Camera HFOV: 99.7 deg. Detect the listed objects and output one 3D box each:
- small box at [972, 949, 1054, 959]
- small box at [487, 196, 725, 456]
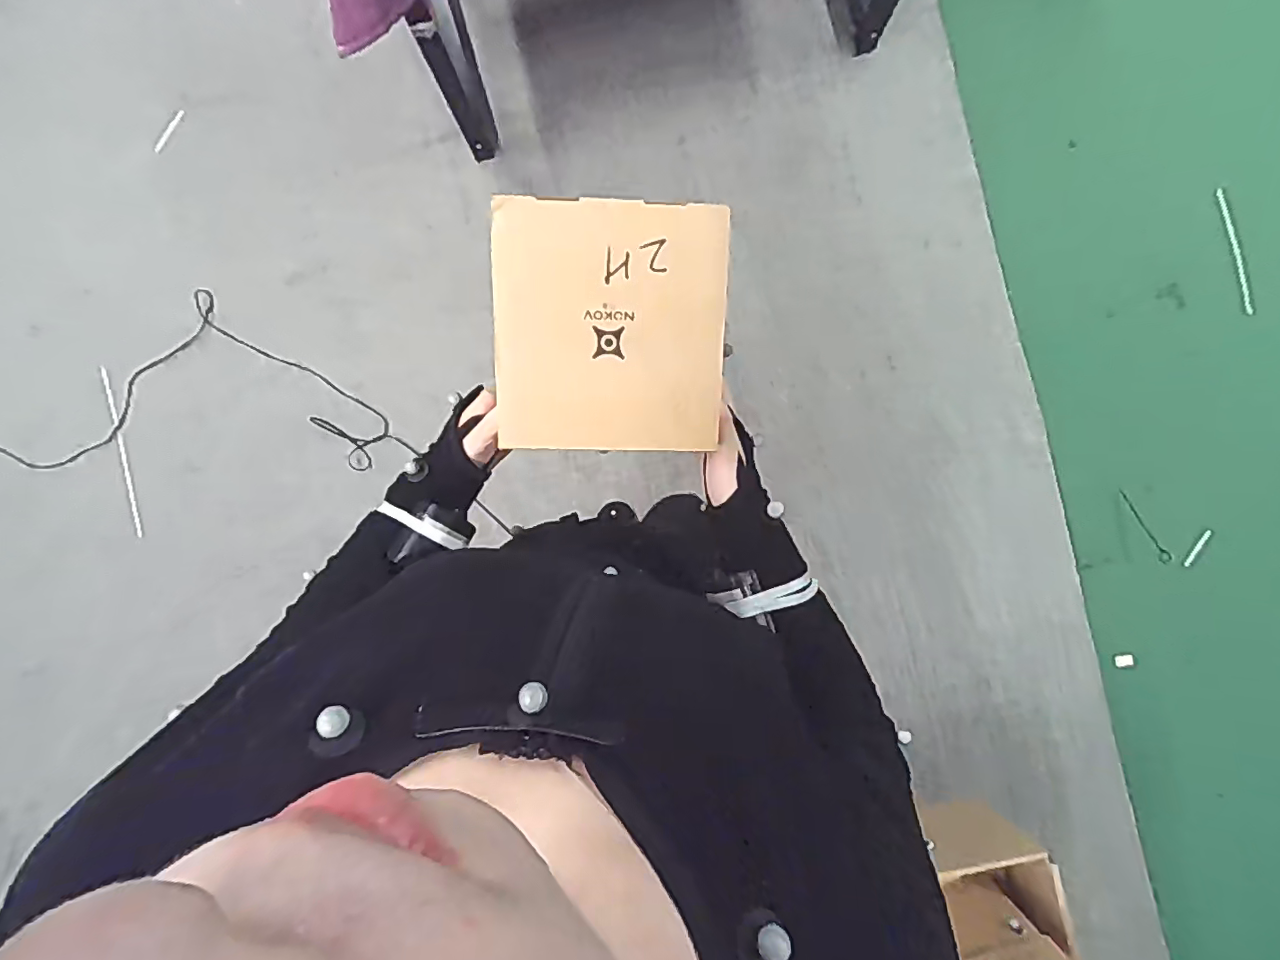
[{"bbox_3d":[0.574,0.820,0.767,0.168,0.176,0.179,-15,89,0],"label":"small box"},{"bbox_3d":[-0.029,-0.122,0.464,0.168,0.176,0.179,1,102,-4],"label":"small box"}]
